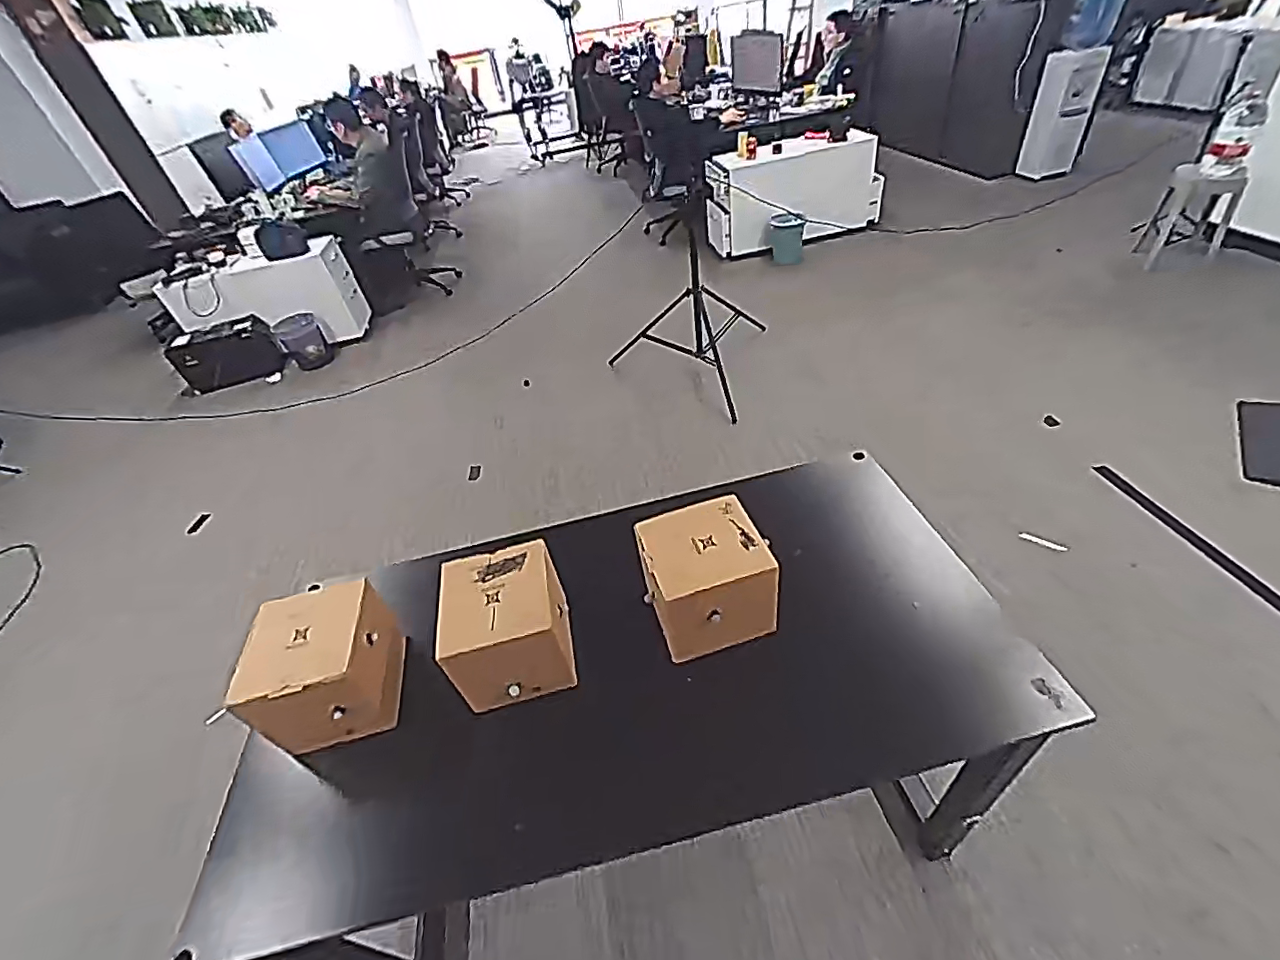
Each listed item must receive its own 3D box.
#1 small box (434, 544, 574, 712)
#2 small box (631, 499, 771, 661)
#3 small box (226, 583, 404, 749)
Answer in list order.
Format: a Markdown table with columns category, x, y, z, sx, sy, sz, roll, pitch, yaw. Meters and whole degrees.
| category | x | y | z | sx | sy | sz | roll | pitch | yaw |
| --- | --- | --- | --- | --- | --- | --- | --- | --- | --- |
| small box | -0.209 | 0.234 | 0.860 | 0.168 | 0.176 | 0.179 | -14 | 42 | -4 |
| small box | 0.100 | 0.164 | 0.875 | 0.179 | 0.176 | 0.168 | -17 | 42 | -6 |
| small box | -0.489 | 0.296 | 0.849 | 0.168 | 0.176 | 0.179 | -14 | 41 | -6 |
